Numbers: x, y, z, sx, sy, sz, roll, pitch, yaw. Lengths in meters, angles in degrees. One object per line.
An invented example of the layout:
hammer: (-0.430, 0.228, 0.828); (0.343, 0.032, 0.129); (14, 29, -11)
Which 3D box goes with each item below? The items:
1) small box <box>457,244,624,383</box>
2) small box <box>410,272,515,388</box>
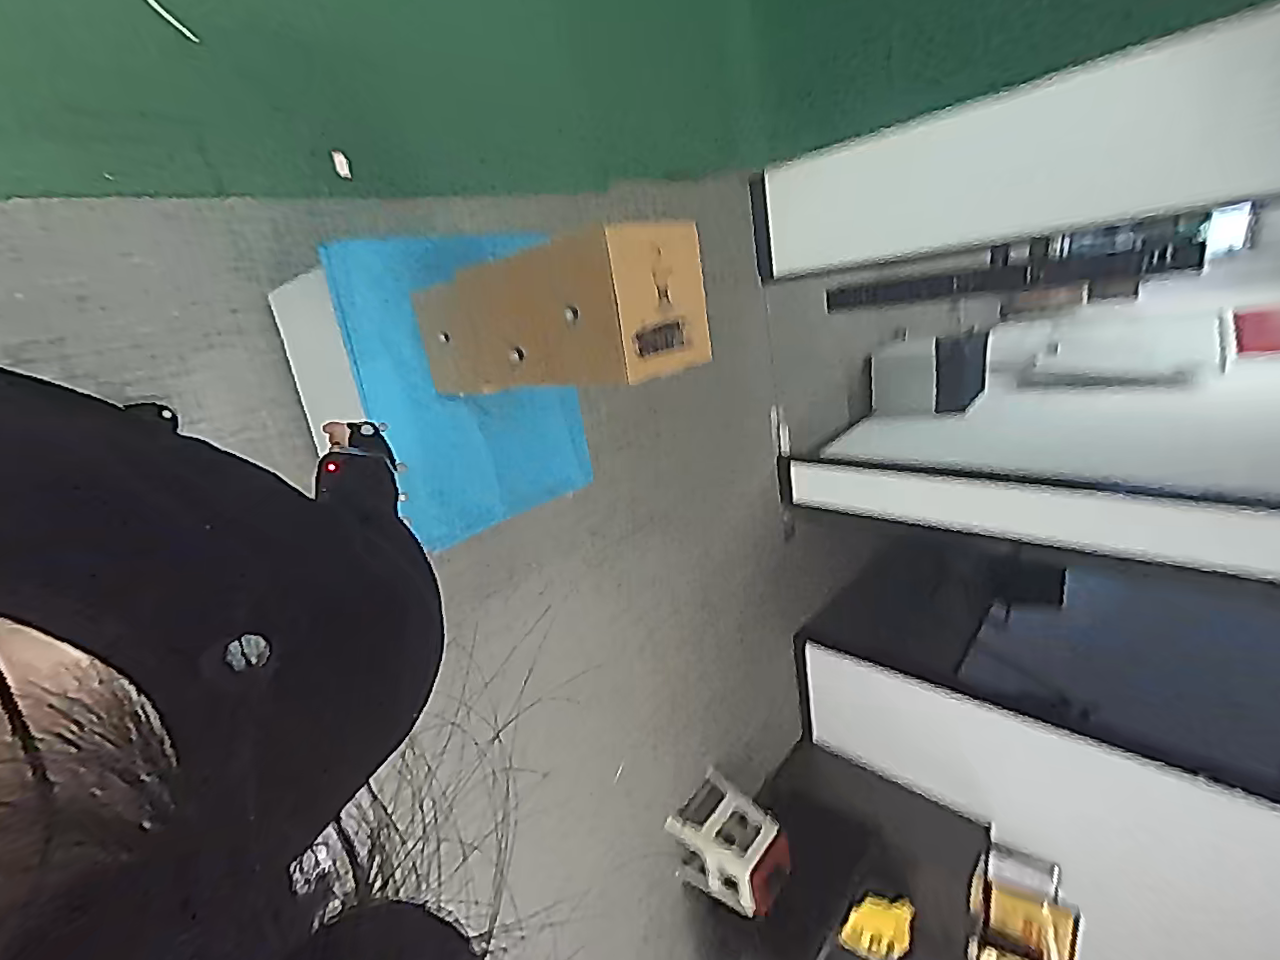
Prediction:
small box: (-0.150, -0.251, 0.821); (0.168, 0.176, 0.179); (-26, 116, -42)
small box: (-0.267, -0.263, 0.936); (0.168, 0.176, 0.179); (-27, 115, -42)
